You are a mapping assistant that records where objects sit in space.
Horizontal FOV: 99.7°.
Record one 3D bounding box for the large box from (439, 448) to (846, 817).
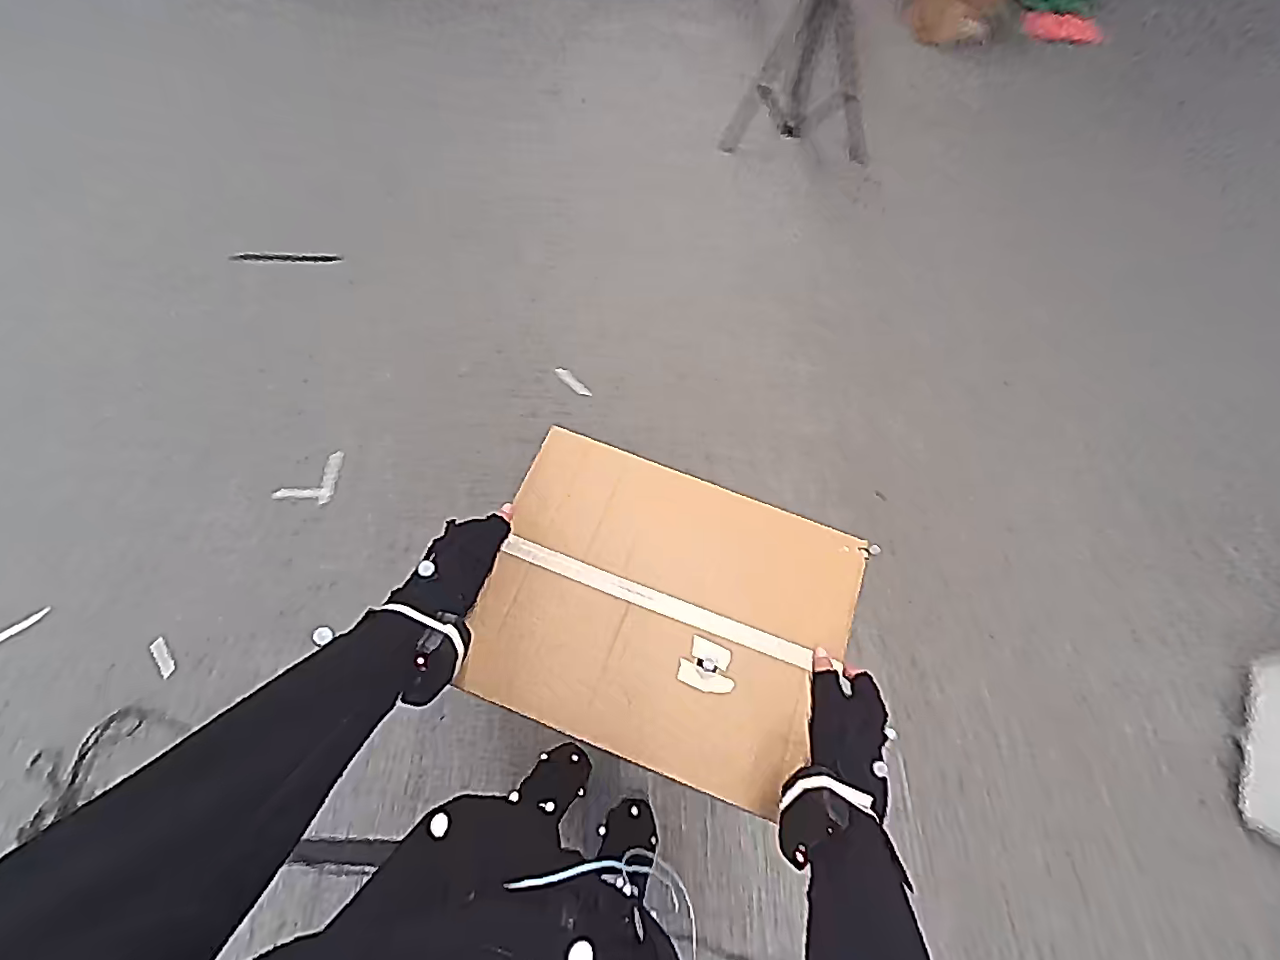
[{"bbox_3d":[0.007,0.208,0.751,0.408,0.320,0.320,19,68,4],"label":"large box"}]
